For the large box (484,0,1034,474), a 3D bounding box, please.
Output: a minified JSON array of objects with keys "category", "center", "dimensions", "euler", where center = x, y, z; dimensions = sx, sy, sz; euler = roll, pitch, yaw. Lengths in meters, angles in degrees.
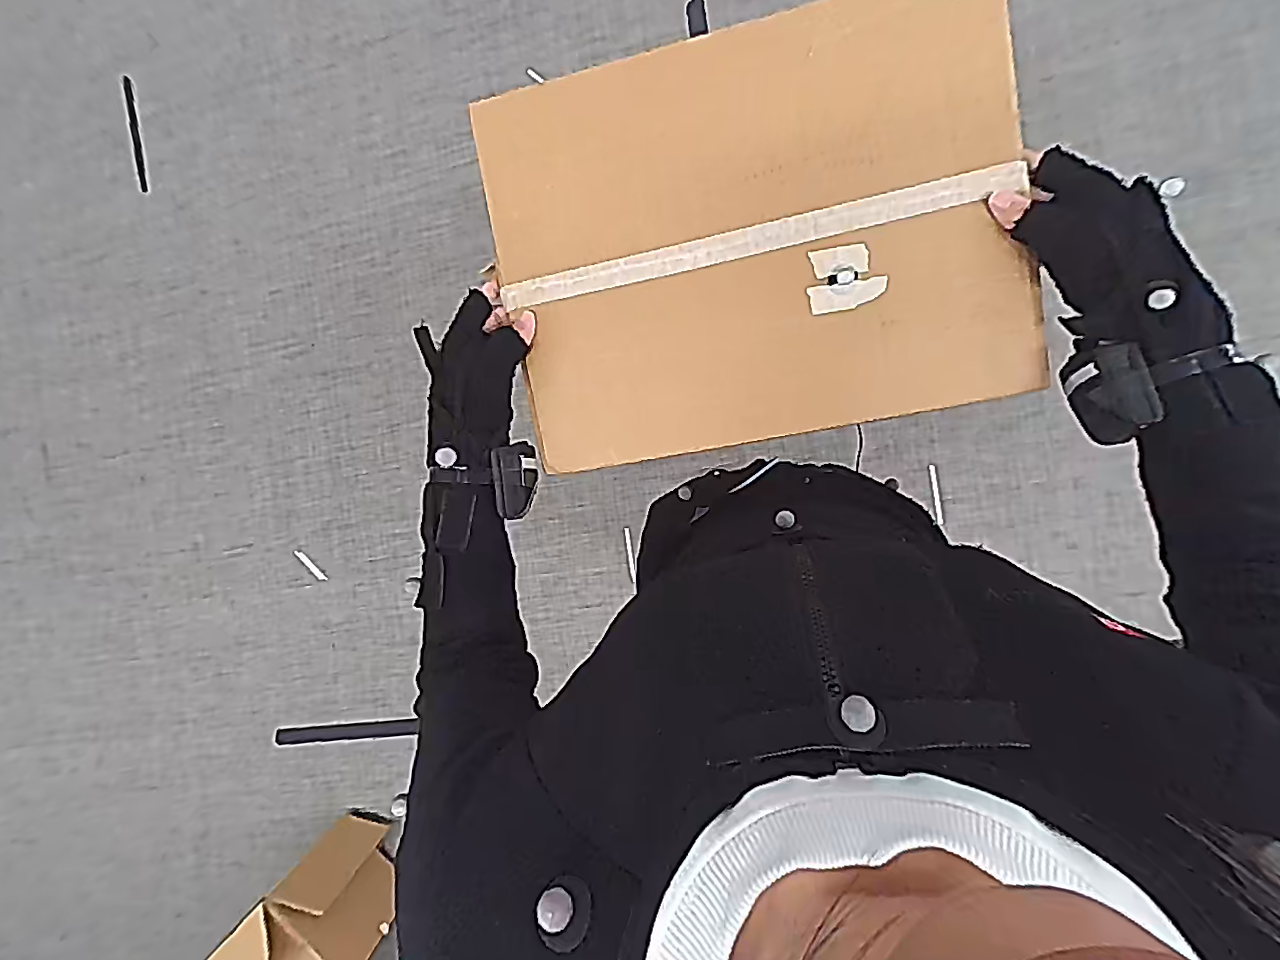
[{"category":"large box","center":[0.105,-0.206,0.586],"dimensions":[0.408,0.320,0.320],"euler":[-10,96,8]}]
